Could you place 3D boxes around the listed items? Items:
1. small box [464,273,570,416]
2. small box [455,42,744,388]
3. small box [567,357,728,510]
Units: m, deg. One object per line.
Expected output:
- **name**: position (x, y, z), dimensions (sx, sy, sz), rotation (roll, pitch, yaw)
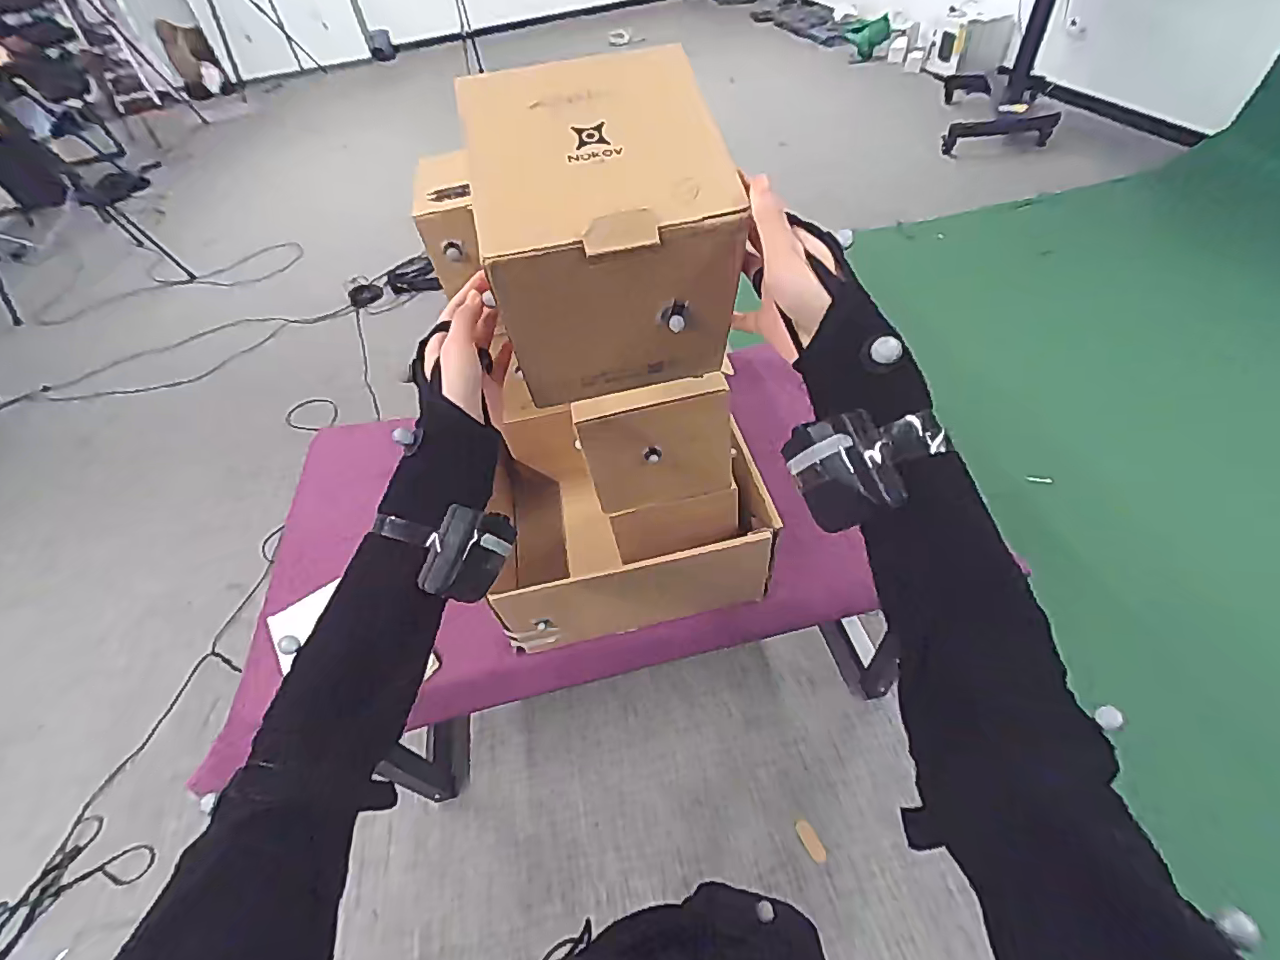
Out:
- **small box**: position (-0.163, -0.218, 0.846), dimensions (0.168, 0.176, 0.179), rotation (-12, 50, -1)
- **small box**: position (-0.030, -0.189, 0.425), dimensions (0.168, 0.176, 0.179), rotation (-12, 67, -4)
- **small box**: position (0.009, -0.085, 0.696), dimensions (0.179, 0.176, 0.168), rotation (-13, 48, 1)
